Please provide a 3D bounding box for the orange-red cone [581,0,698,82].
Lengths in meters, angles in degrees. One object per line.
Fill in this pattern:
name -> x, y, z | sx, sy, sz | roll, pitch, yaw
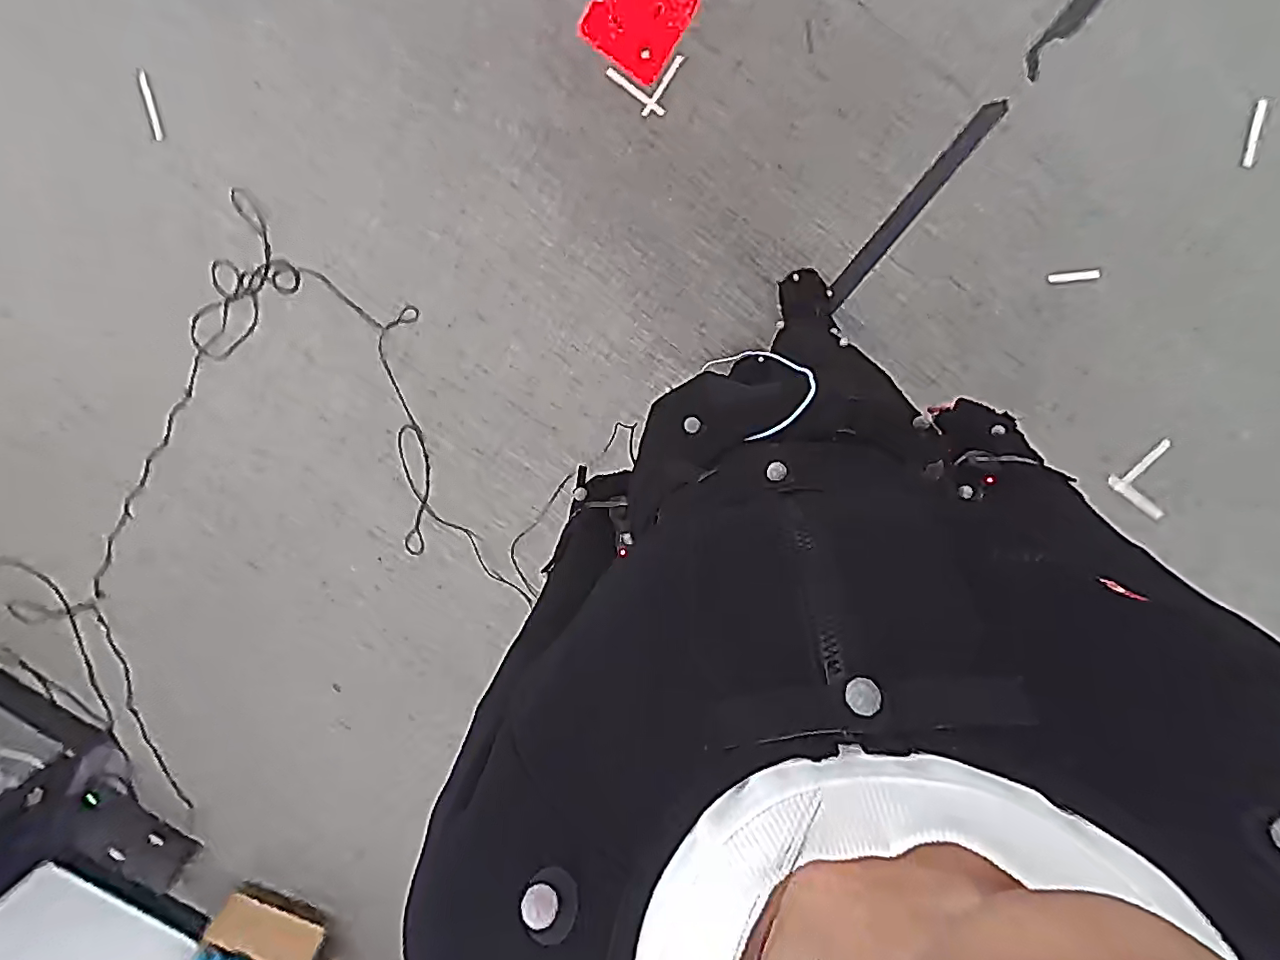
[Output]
orange-red cone -> -0.018, -0.945, 0.988 | 0.198, 0.360, 0.199 | 36, 106, -6
